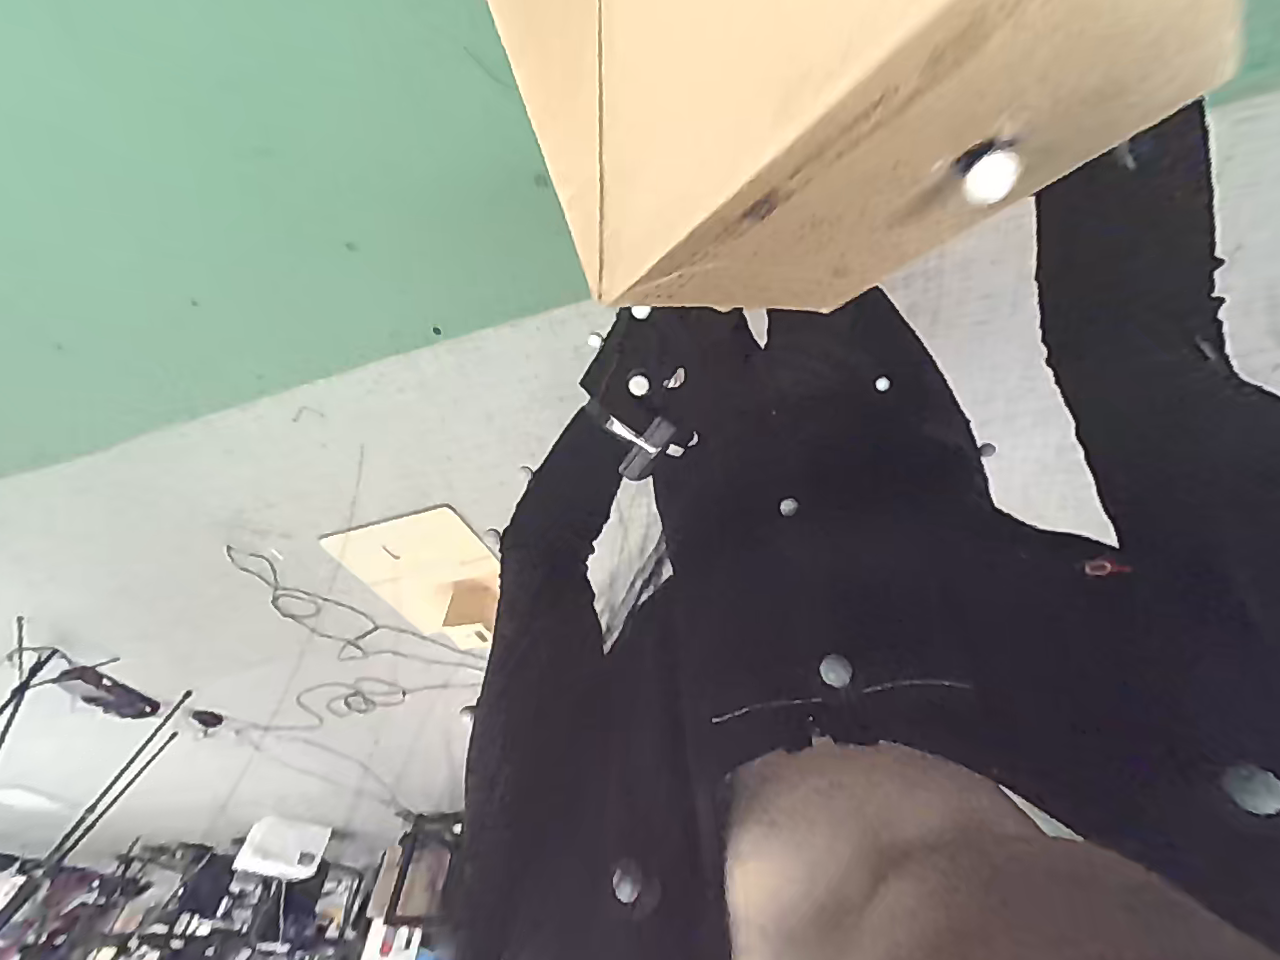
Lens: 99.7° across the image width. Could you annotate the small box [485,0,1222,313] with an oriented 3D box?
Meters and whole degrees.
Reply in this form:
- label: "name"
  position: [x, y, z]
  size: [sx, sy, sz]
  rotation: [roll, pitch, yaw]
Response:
- label: "small box"
  position: [0.062, -0.174, 0.195]
  size: [0.168, 0.176, 0.179]
  rotation: [-19, 90, 50]
